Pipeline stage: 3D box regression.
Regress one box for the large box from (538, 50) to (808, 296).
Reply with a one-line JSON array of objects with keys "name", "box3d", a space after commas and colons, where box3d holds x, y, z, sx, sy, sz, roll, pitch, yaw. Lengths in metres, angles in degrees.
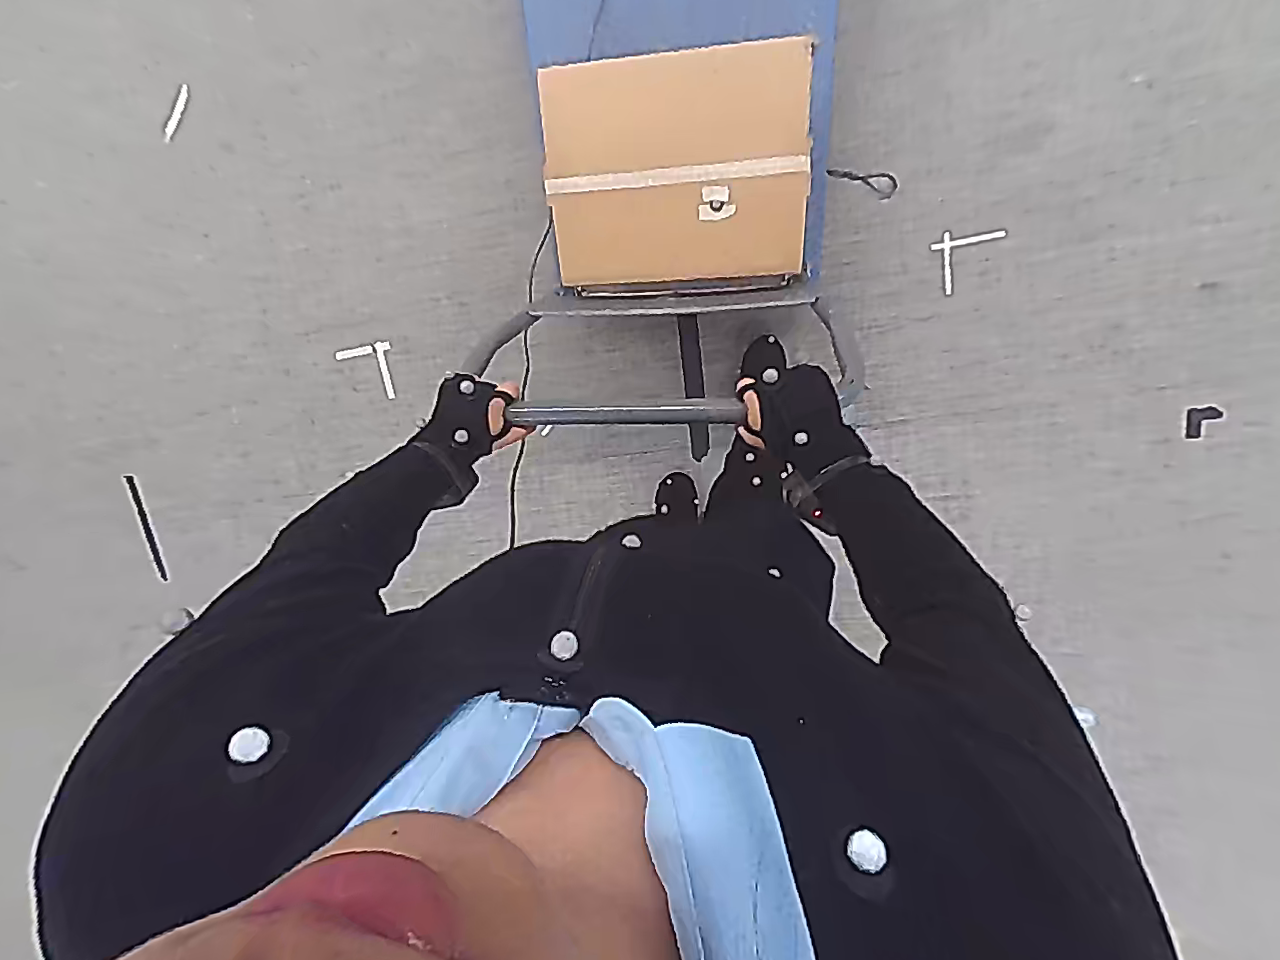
[{"name": "large box", "box3d": [0.068, -0.523, 0.982, 0.408, 0.320, 0.320, 0, 115, 8]}]
